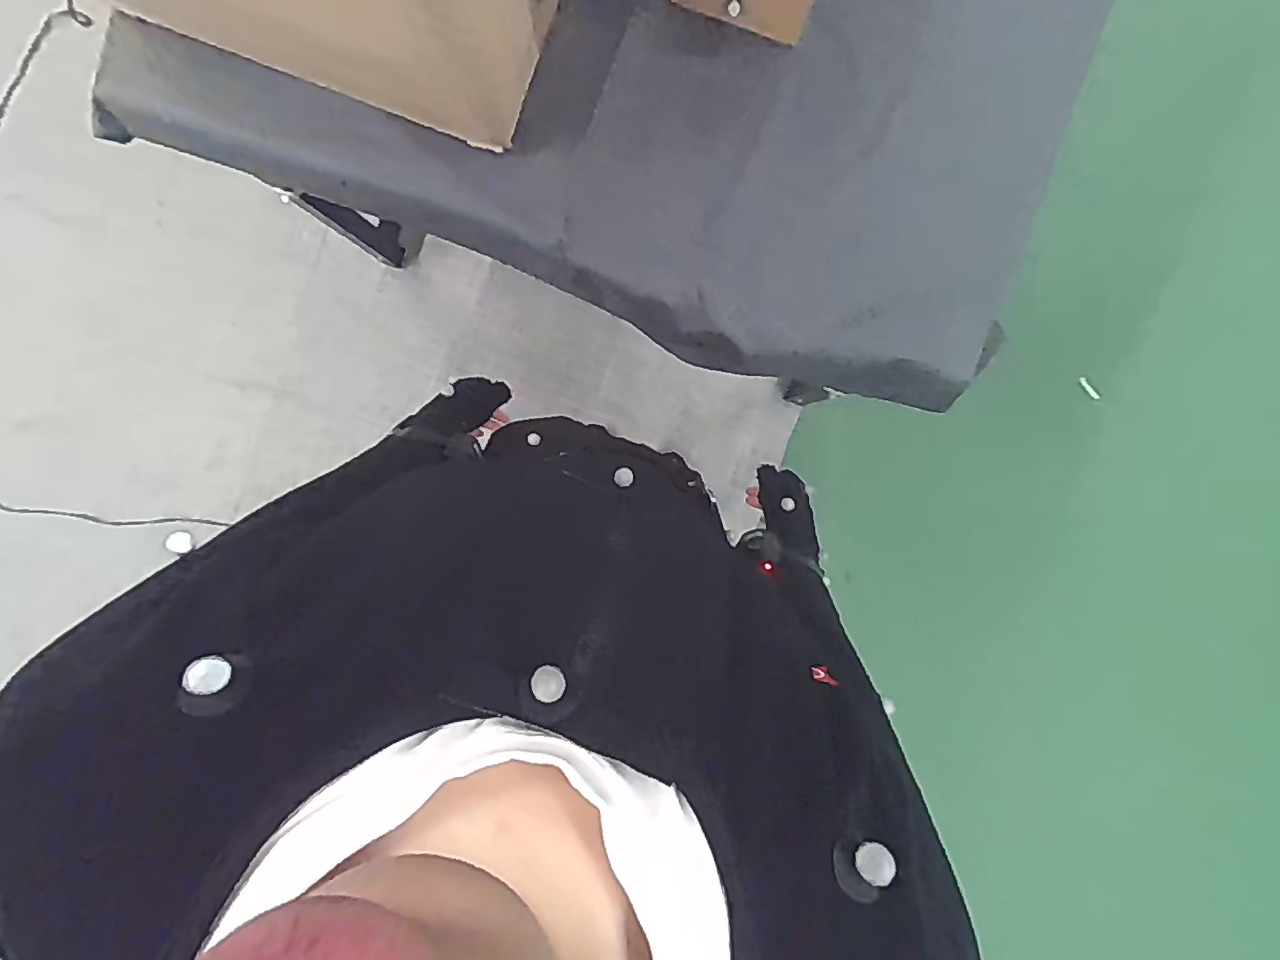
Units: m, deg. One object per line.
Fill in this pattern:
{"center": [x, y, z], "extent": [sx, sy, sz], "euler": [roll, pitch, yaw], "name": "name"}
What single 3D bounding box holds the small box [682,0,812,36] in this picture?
{"center": [0.147, -0.658, 0.609], "extent": [0.179, 0.176, 0.168], "euler": [19, 94, -2], "name": "small box"}
